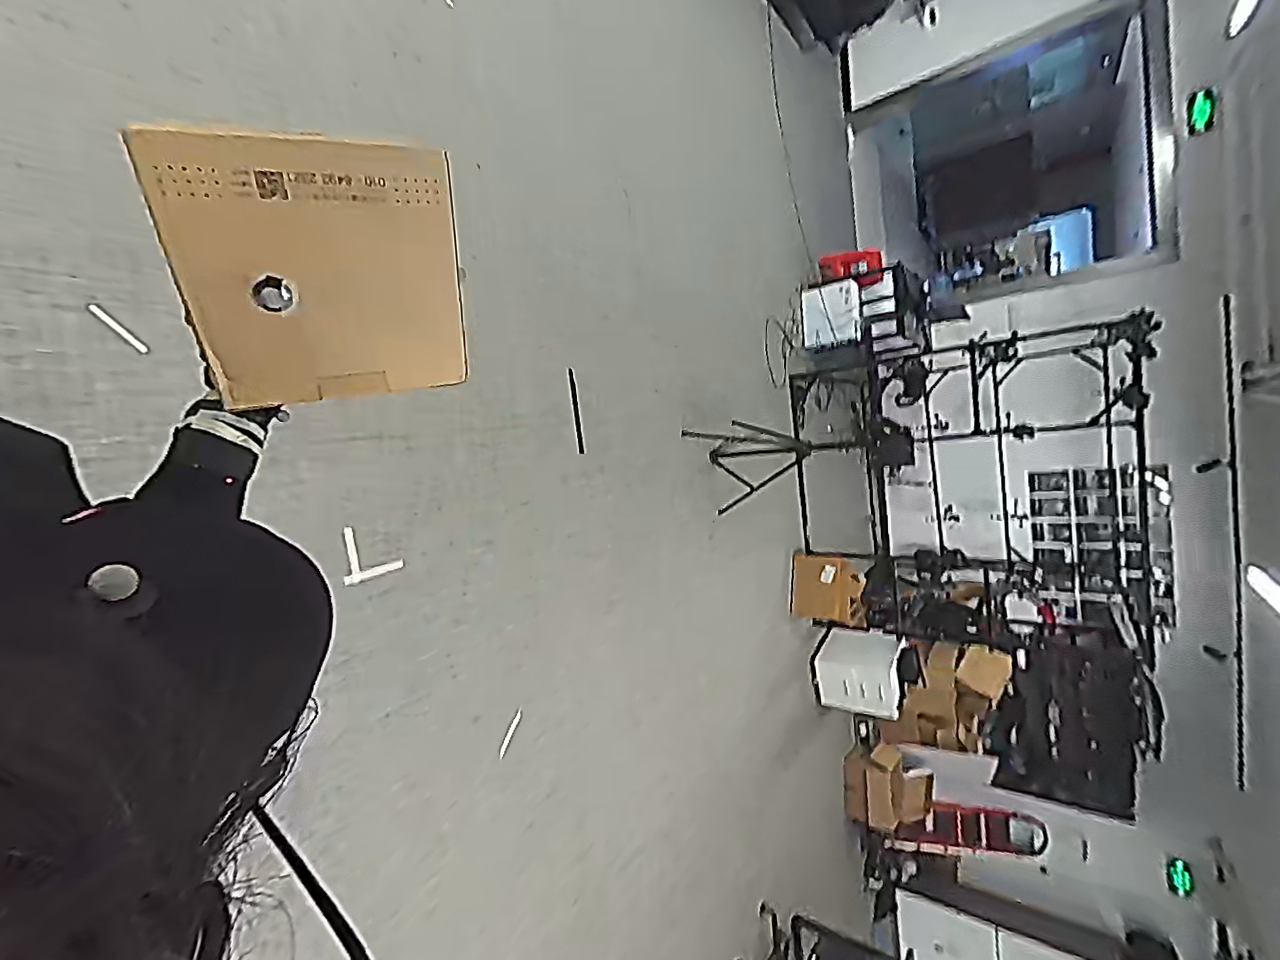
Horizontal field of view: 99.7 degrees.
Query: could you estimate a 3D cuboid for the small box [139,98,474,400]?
[{"bbox_3d":[-0.237,-0.181,0.410,0.168,0.179,0.176,-13,128,-28],"label":"small box"}]
